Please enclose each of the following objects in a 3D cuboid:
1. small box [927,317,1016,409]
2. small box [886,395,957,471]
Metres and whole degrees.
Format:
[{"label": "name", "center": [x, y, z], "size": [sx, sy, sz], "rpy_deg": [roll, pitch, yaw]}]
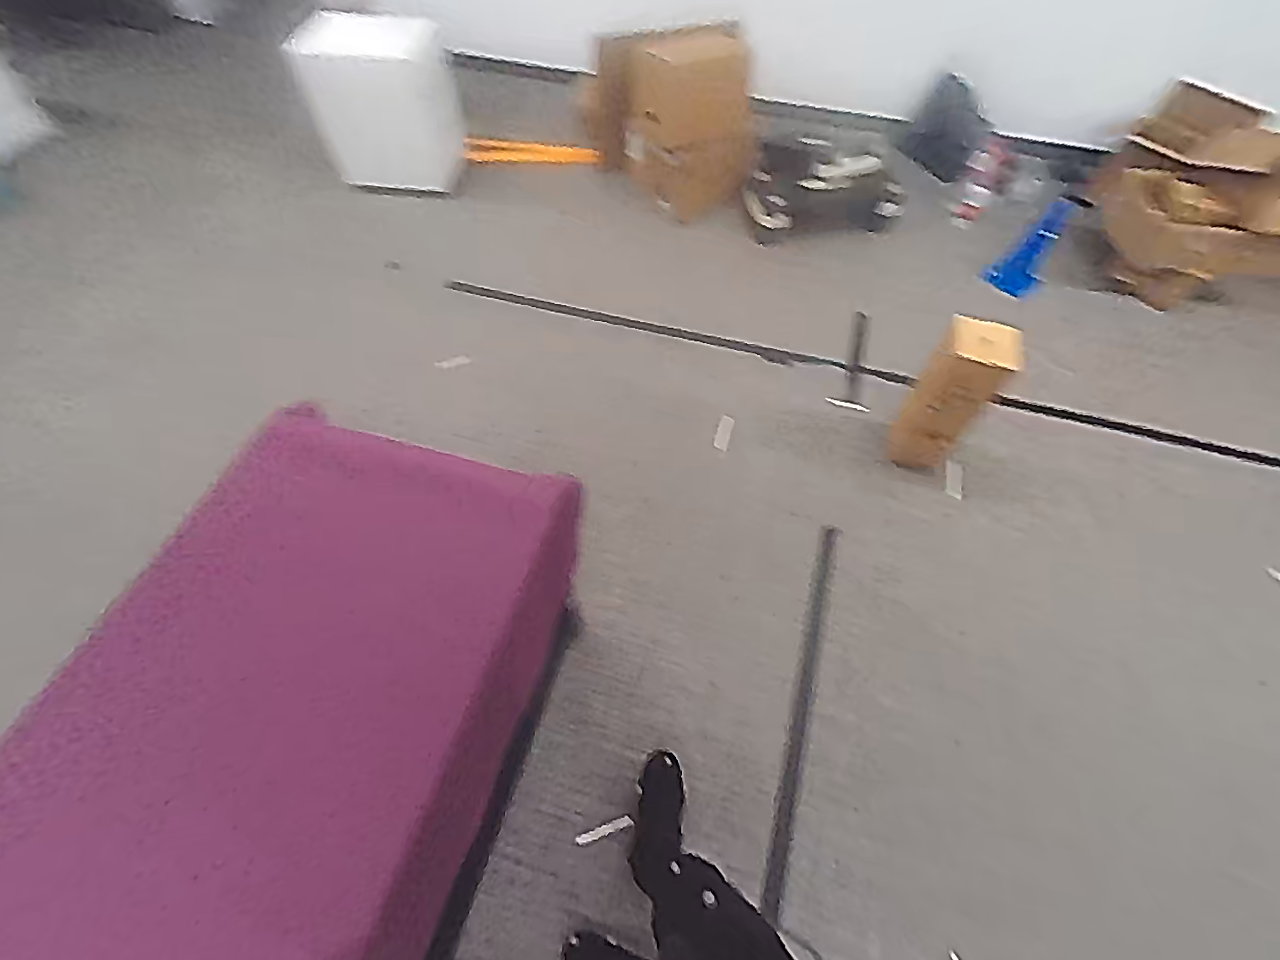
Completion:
[{"label": "small box", "center": [0.964, -0.340, 1.585], "size": [0.168, 0.176, 0.179], "rpy_deg": [16, 59, 8]}, {"label": "small box", "center": [0.962, -0.160, 1.859], "size": [0.168, 0.176, 0.179], "rpy_deg": [12, 60, 7]}]
